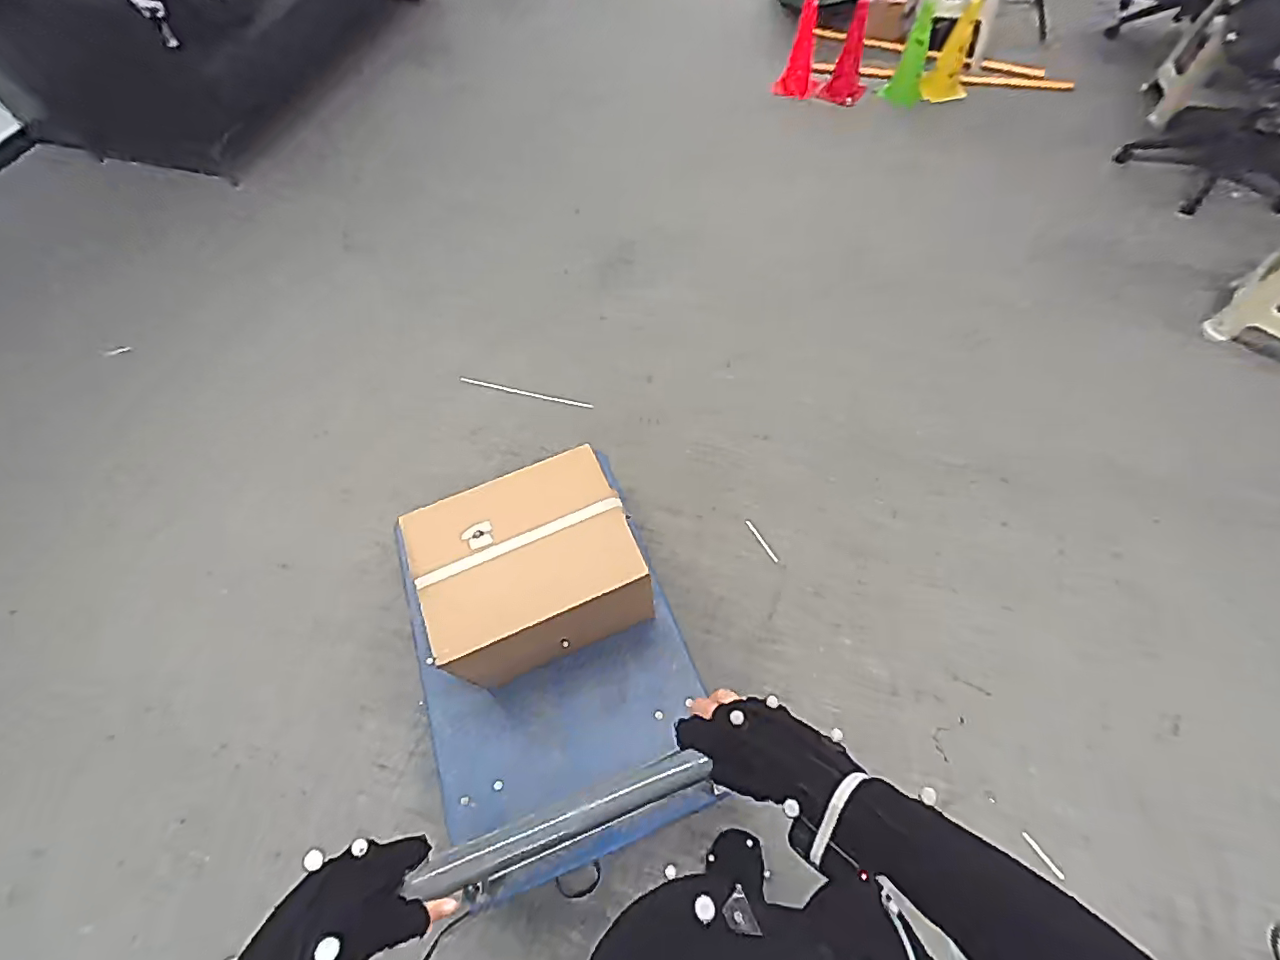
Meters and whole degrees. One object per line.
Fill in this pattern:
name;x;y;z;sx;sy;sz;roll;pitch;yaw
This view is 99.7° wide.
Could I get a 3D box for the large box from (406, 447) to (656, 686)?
large box;-0.212;0.195;1.159;0.408;0.320;0.320;-23;62;-7
